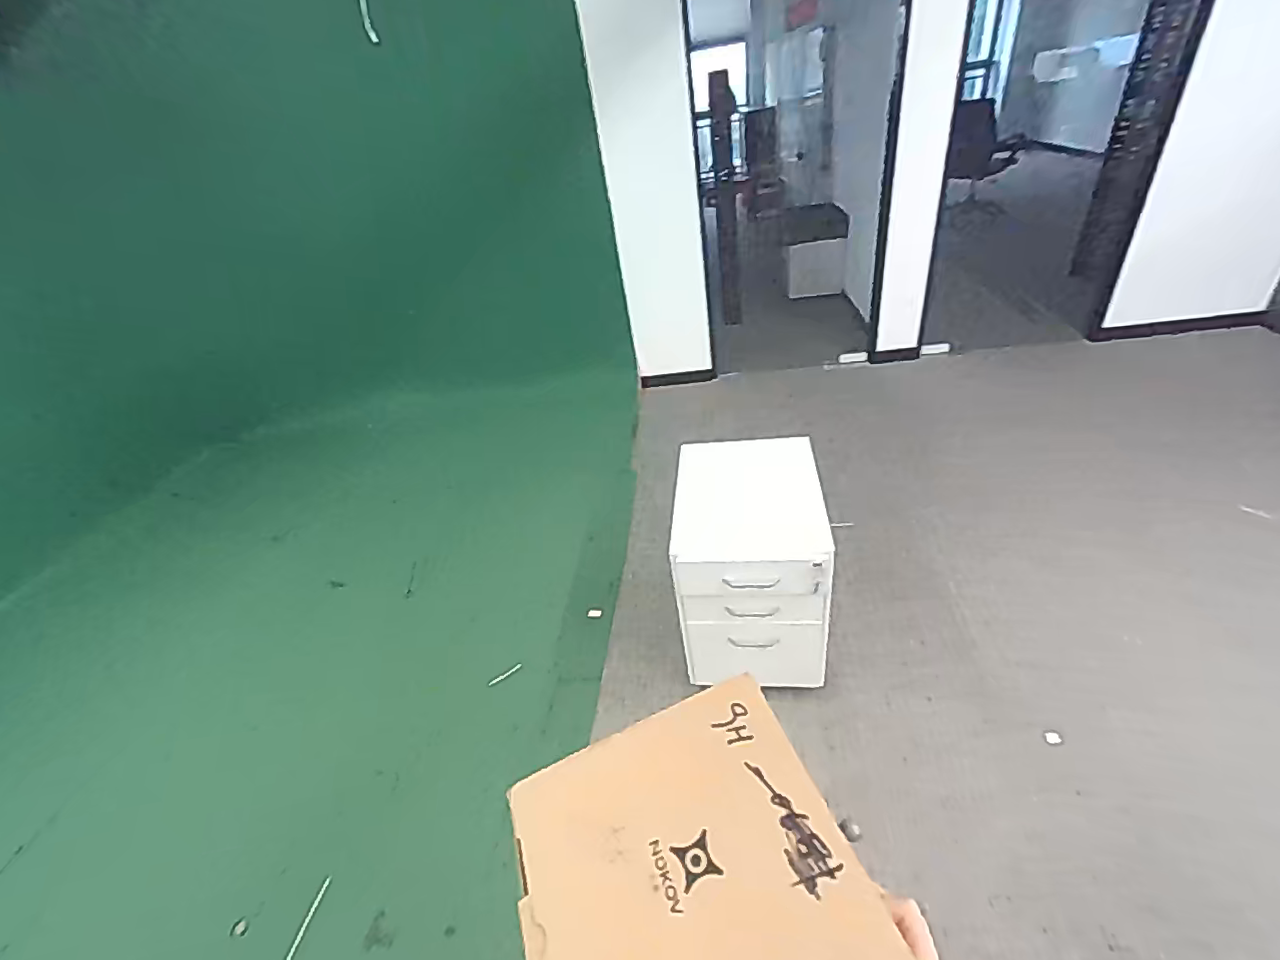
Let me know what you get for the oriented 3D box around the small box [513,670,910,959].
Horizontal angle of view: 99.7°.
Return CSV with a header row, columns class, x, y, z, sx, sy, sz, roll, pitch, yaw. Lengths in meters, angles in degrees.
class,x,y,z,sx,sy,sz,roll,pitch,yaw
small box,0.041,0.264,0.353,0.179,0.176,0.168,-23,45,-6
